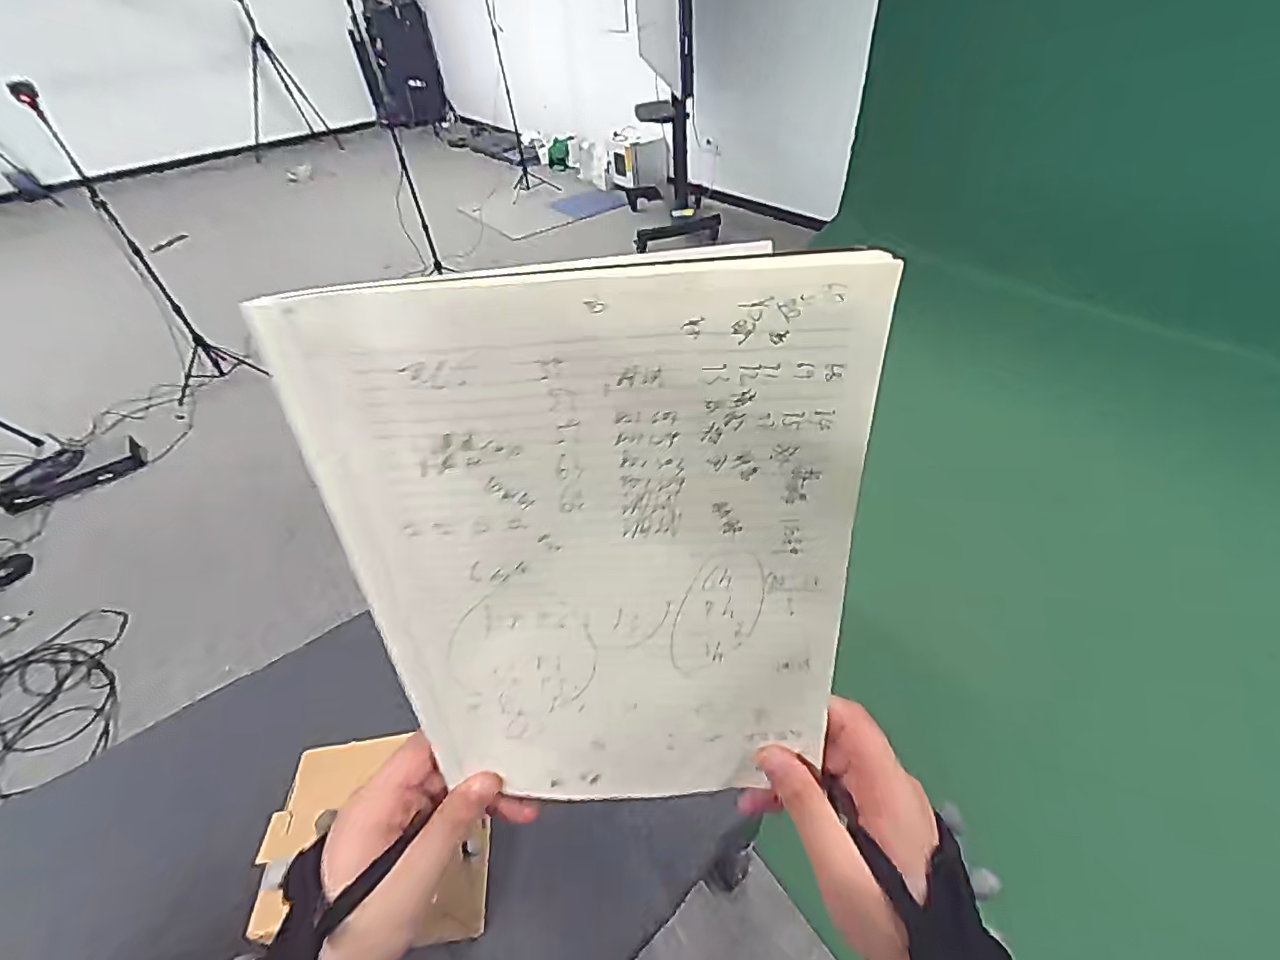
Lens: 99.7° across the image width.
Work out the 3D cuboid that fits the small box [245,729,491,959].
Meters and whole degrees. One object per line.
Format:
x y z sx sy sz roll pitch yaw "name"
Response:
-0.273 0.403 0.599 0.179 0.176 0.168 -9 43 -2 "small box"
